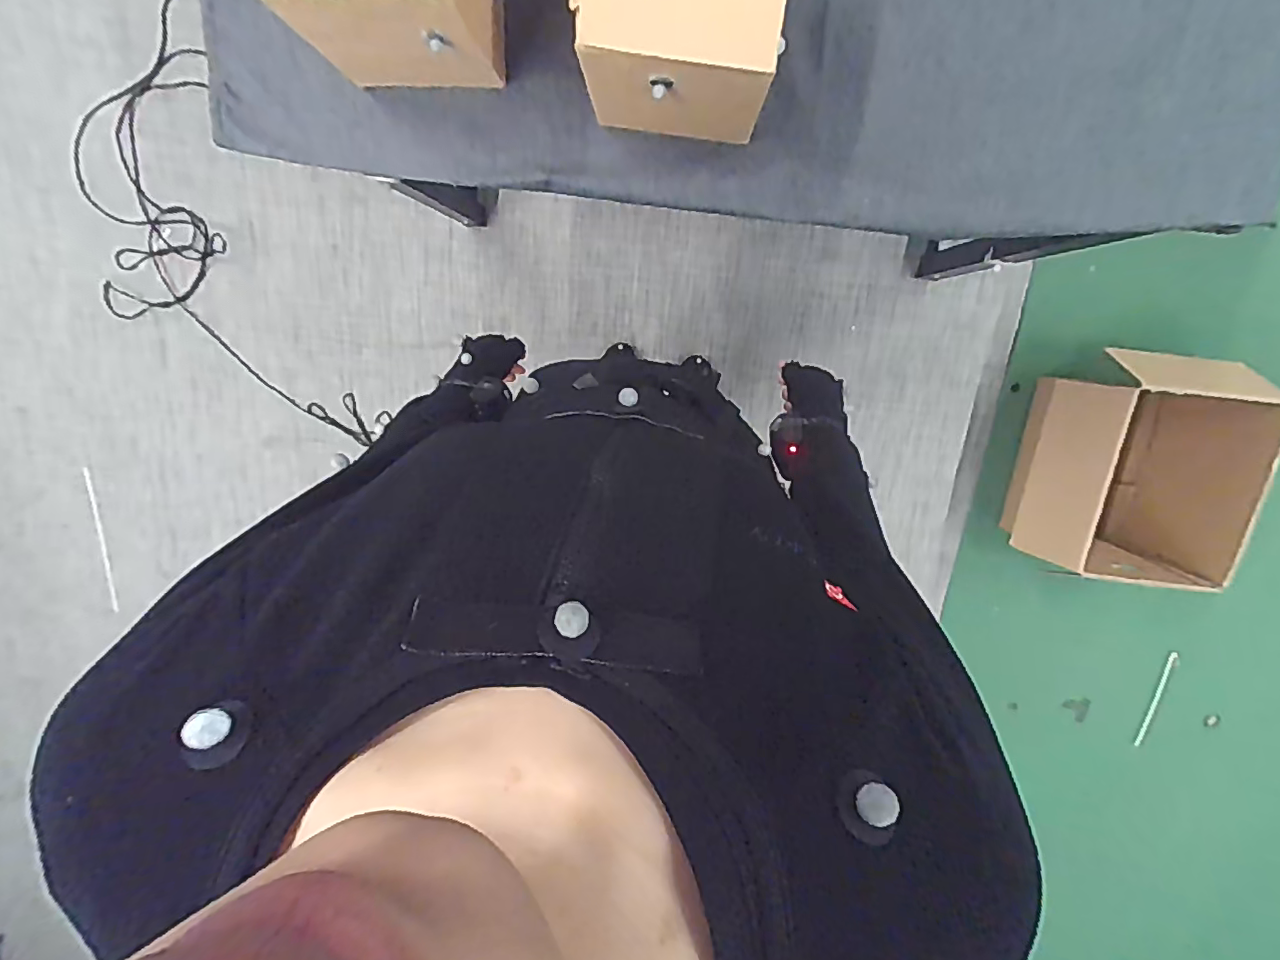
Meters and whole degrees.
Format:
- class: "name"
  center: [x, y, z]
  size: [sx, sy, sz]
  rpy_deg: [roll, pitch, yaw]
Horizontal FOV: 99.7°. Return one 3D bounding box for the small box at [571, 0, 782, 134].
- class: "small box"
  center: [0.041, -0.458, 0.518]
  size: [0.179, 0.176, 0.168]
  rpy_deg: [8, 105, 1]
